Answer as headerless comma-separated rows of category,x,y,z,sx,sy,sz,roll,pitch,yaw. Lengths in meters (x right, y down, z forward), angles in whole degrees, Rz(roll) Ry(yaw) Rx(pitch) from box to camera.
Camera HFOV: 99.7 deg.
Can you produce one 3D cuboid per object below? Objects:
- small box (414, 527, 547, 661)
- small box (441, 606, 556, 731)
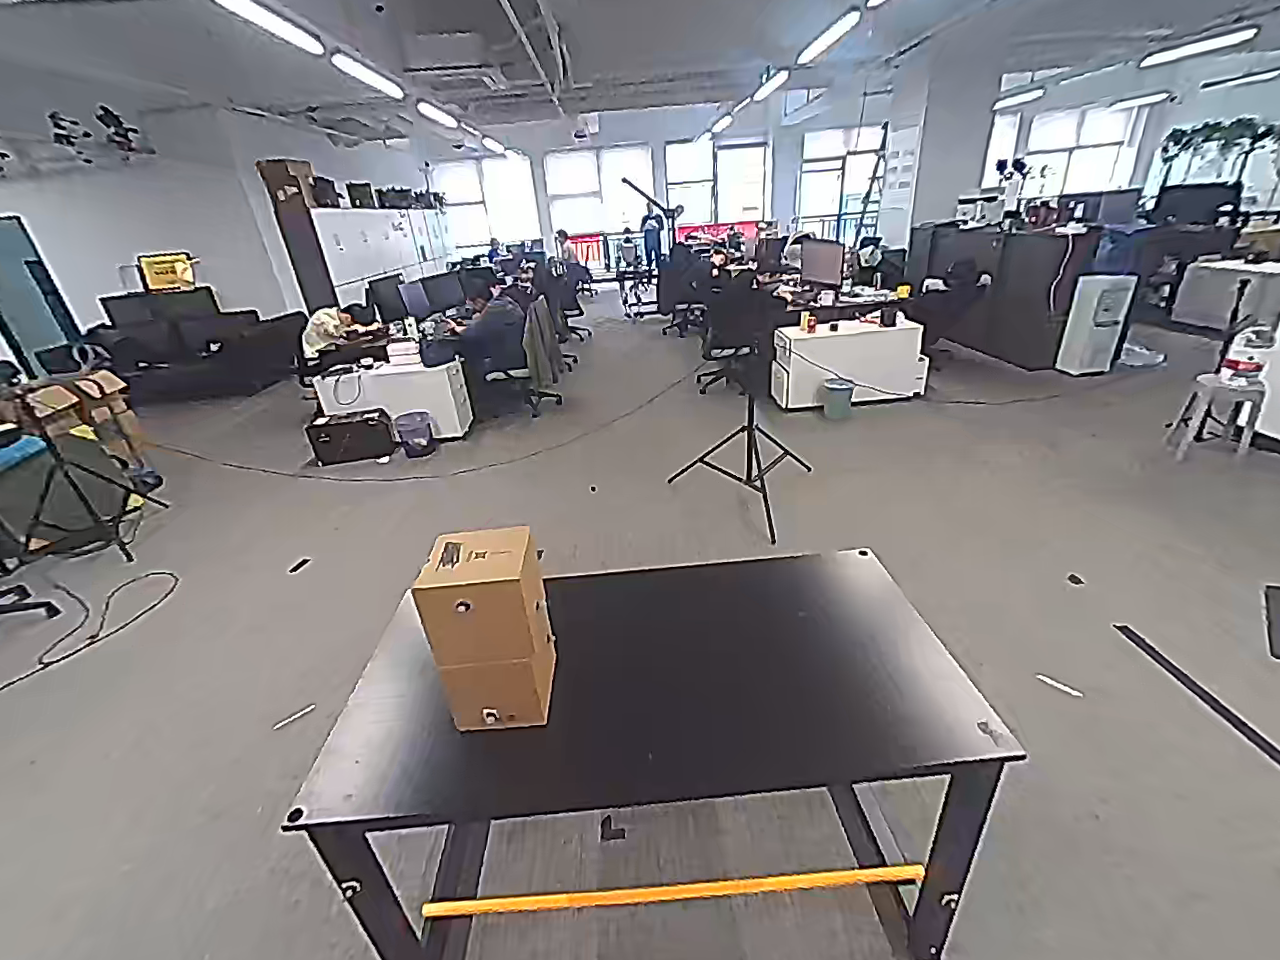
small box,-0.274,0.204,0.969,0.179,0.176,0.168,-6,26,-1
small box,-0.261,0.350,1.043,0.168,0.176,0.179,-6,27,0
